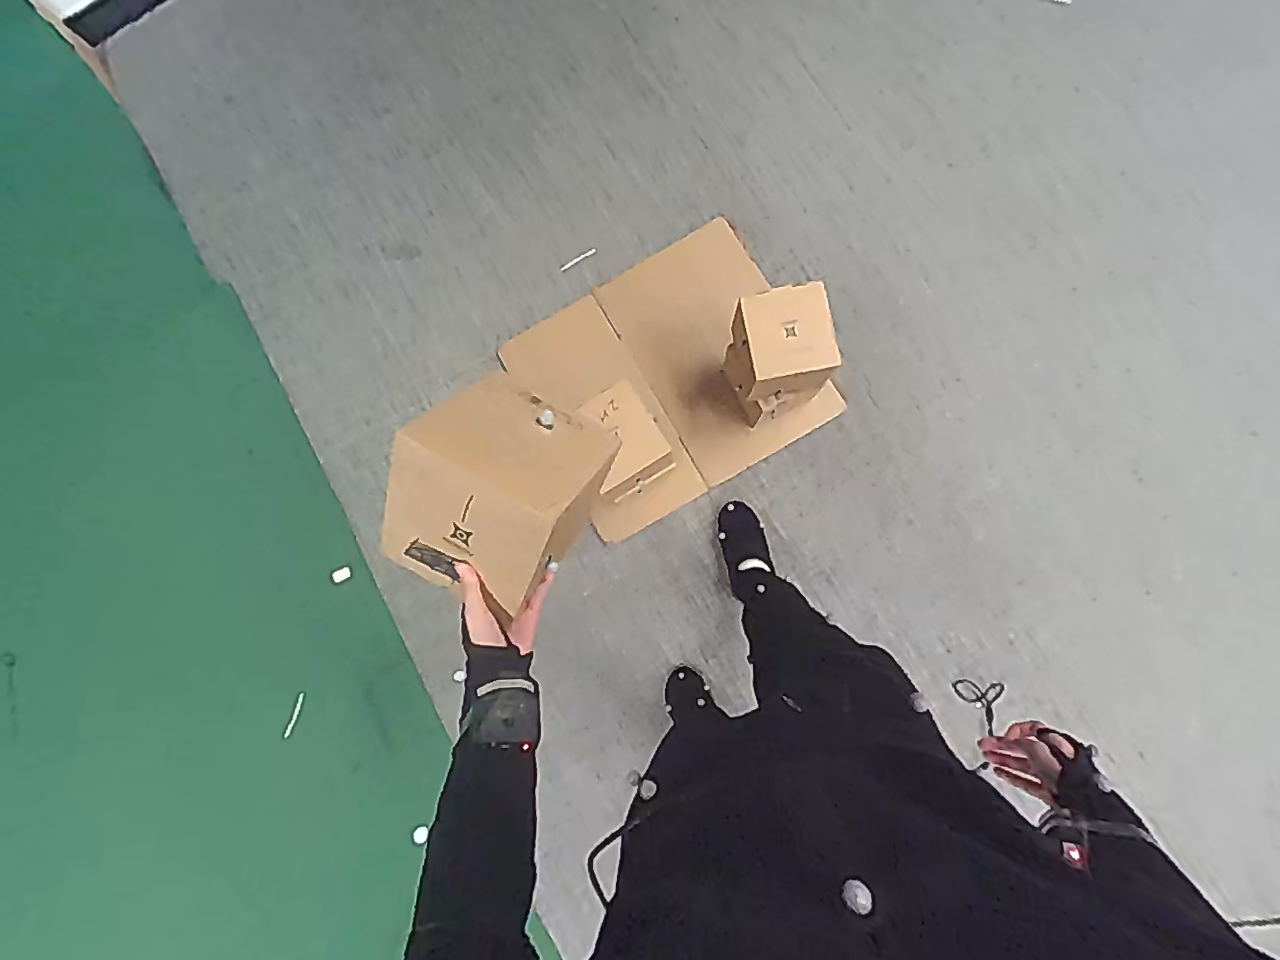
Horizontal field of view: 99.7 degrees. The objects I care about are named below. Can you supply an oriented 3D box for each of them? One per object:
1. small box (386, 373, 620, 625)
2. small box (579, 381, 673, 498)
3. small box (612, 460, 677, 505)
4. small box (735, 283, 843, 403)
[{"bbox_3d":[-0.142,0.014,0.587,0.168,0.176,0.179,30,125,3],"label":"small box"},{"bbox_3d":[-0.040,-0.074,1.123,0.168,0.176,0.179,-31,82,0],"label":"small box"},{"bbox_3d":[-0.021,-0.052,1.285,0.168,0.176,0.179,-32,81,1],"label":"small box"},{"bbox_3d":[0.296,-0.274,1.114,0.168,0.176,0.179,-10,83,3],"label":"small box"}]
